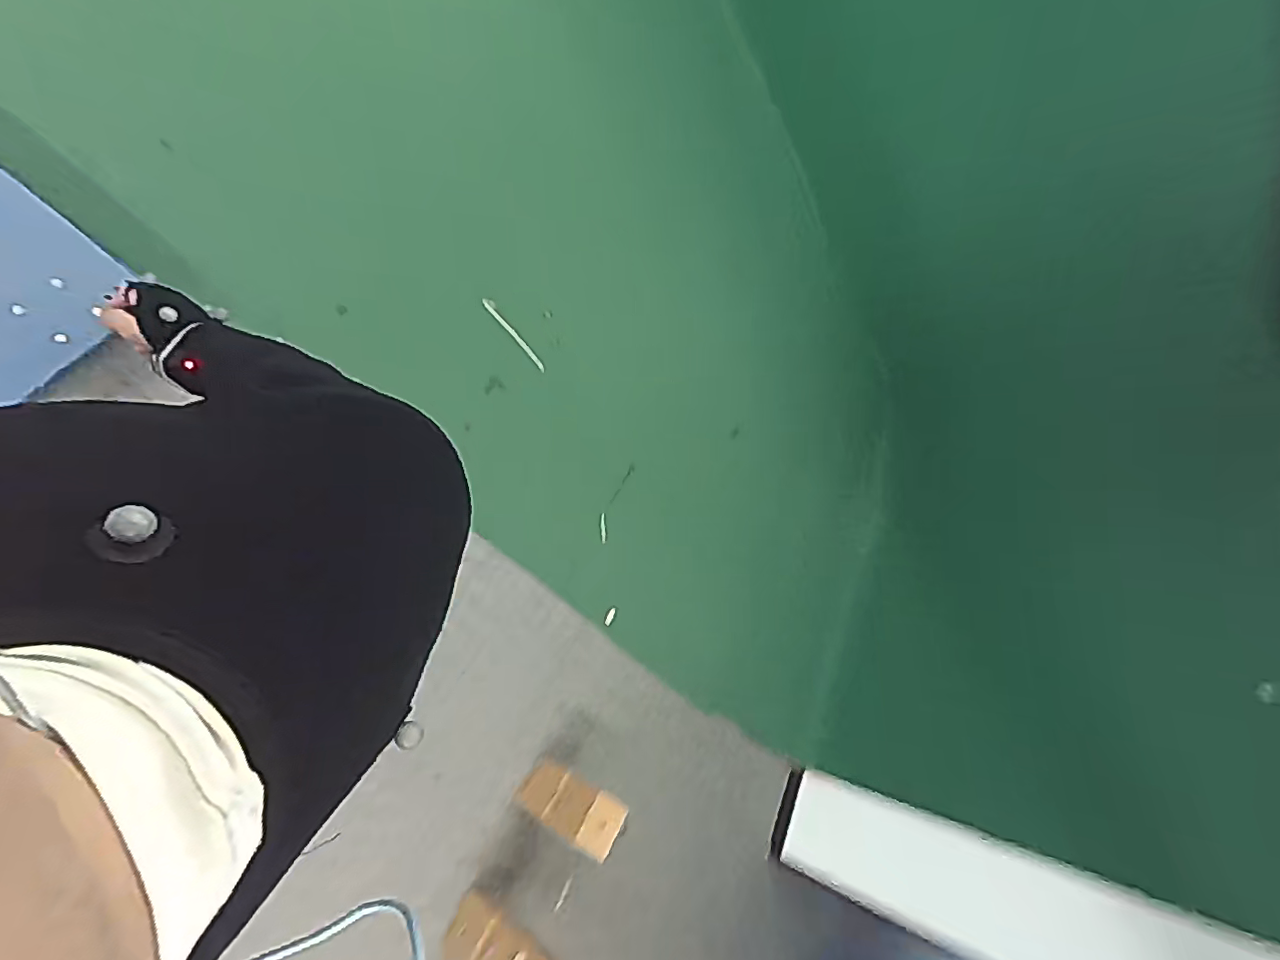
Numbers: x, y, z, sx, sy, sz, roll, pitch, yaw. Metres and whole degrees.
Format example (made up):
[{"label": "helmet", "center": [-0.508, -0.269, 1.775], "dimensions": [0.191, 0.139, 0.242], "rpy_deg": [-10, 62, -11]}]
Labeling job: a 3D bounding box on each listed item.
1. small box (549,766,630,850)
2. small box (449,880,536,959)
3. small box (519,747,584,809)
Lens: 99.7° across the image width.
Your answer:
[{"label": "small box", "center": [-0.173, 1.111, 1.844], "dimensions": [0.179, 0.176, 0.168], "rpy_deg": [52, 56, -30]}, {"label": "small box", "center": [-0.483, 1.441, 1.755], "dimensions": [0.179, 0.176, 0.168], "rpy_deg": [49, 57, -32]}, {"label": "small box", "center": [-0.304, 1.100, 1.965], "dimensions": [0.179, 0.176, 0.168], "rpy_deg": [52, 56, -31]}]
